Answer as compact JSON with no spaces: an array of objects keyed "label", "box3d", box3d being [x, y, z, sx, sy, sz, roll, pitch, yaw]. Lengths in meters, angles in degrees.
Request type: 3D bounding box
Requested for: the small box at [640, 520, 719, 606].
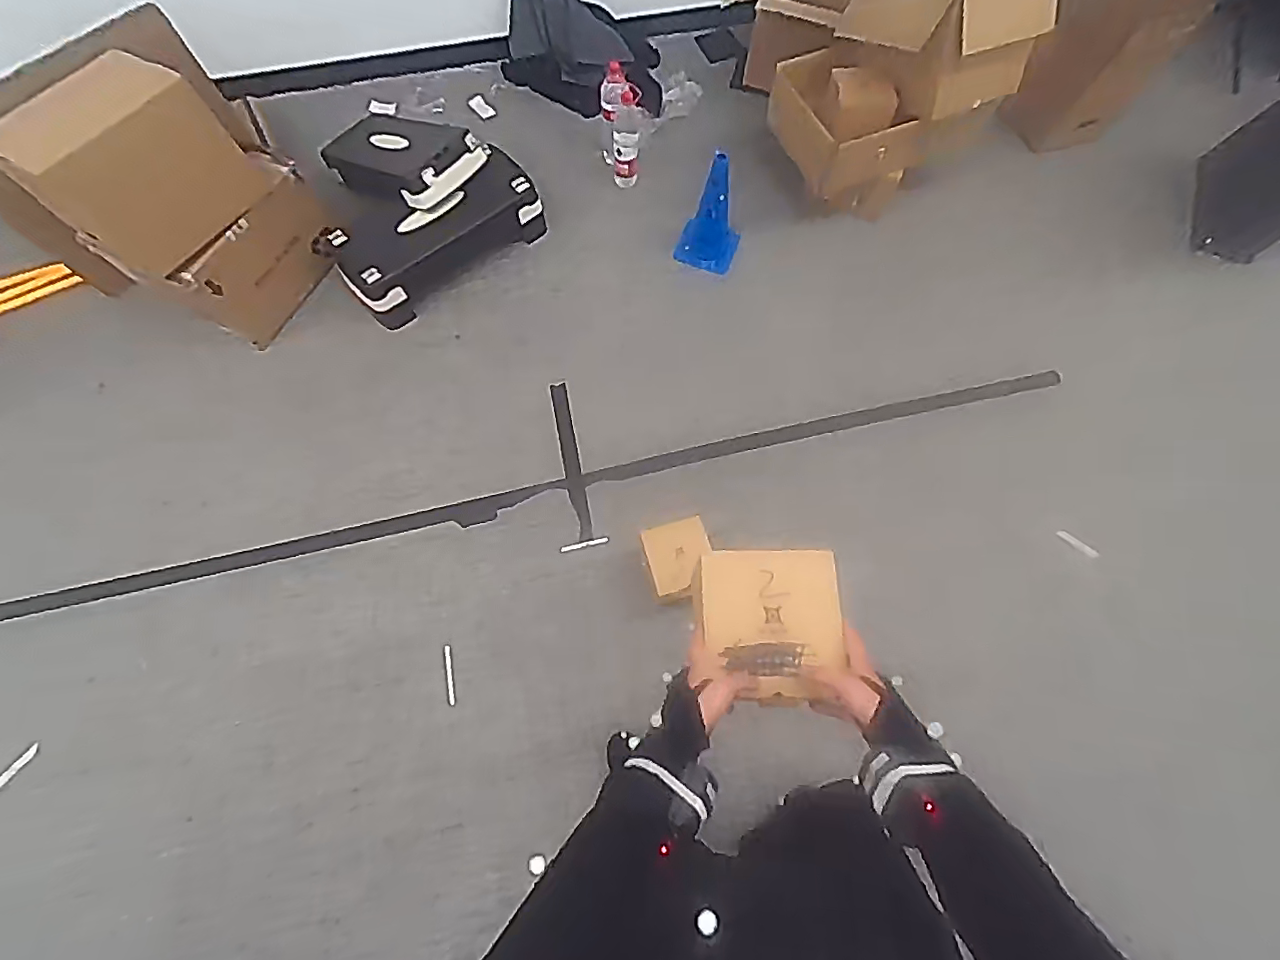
[{"label":"small box","box3d":[0.098,0.228,1.456,0.168,0.176,0.179,-15,72,-6]}]
